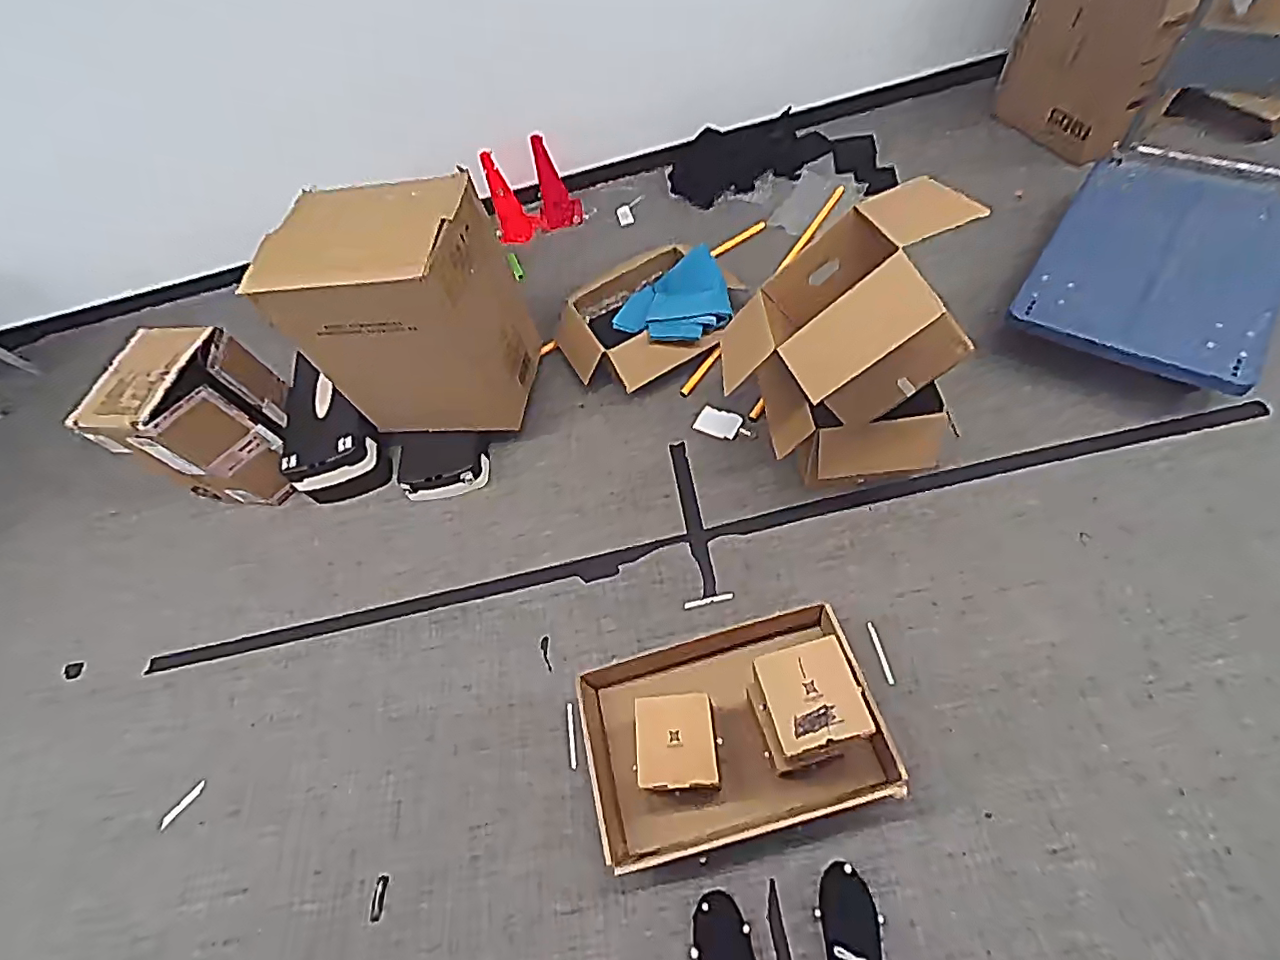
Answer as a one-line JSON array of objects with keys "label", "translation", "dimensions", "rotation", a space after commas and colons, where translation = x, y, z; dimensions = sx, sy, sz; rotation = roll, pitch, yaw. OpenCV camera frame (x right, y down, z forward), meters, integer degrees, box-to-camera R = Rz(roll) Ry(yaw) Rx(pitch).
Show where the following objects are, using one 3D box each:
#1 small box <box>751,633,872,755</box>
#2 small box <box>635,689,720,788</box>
[{"label": "small box", "translation": [0.323, 0.420, 1.047], "dimensions": [0.168, 0.176, 0.179], "rotation": [-17, 57, 2]}, {"label": "small box", "translation": [0.084, 0.577, 1.202], "dimensions": [0.168, 0.176, 0.179], "rotation": [-8, 59, 6]}]
